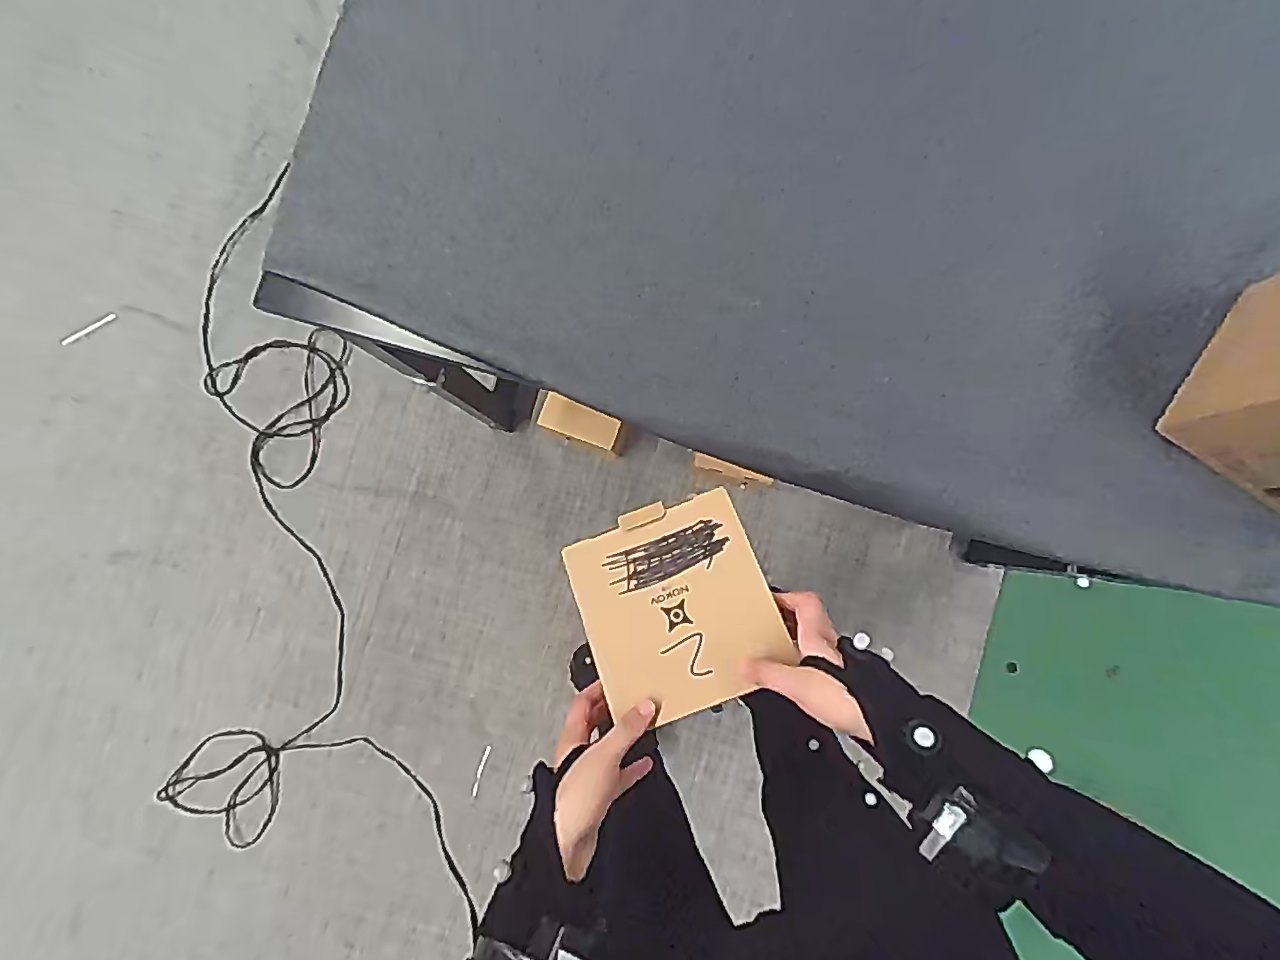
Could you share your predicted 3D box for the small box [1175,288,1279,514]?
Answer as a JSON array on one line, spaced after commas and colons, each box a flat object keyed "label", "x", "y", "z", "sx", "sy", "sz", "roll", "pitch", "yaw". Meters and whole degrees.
[{"label": "small box", "x": 0.591, "y": -0.069, "z": 0.419, "sx": 0.168, "sy": 0.176, "sz": 0.179, "roll": 37, "pitch": 84, "yaw": 4}]

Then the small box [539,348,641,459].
[{"label": "small box", "x": -0.099, "y": -0.156, "z": 1.179, "sx": 0.168, "sy": 0.176, "sz": 0.179, "roll": 20, "pitch": 85, "yaw": 3}]

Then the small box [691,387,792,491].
[{"label": "small box", "x": 0.209, "y": -0.080, "z": 1.163, "sx": 0.168, "sy": 0.176, "sz": 0.179, "roll": 14, "pitch": 85, "yaw": 2}]
